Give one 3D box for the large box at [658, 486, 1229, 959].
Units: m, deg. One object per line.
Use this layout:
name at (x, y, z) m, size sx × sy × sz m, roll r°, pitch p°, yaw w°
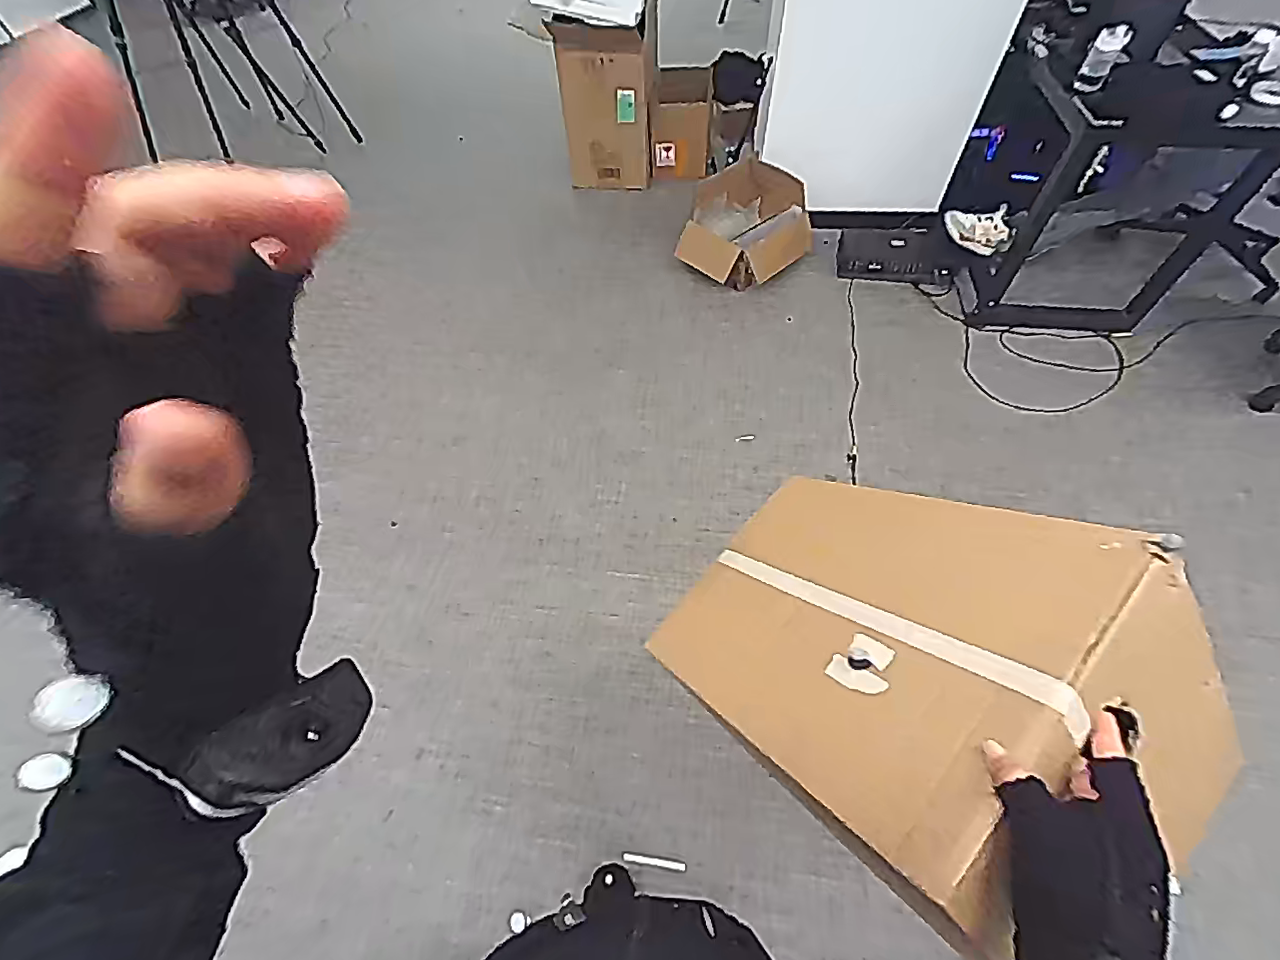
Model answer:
large box at (0.295, 0.239, 0.604) m, size 0.320 × 0.320 × 0.408 m, roll -45°, pitch 23°, yaw -14°
